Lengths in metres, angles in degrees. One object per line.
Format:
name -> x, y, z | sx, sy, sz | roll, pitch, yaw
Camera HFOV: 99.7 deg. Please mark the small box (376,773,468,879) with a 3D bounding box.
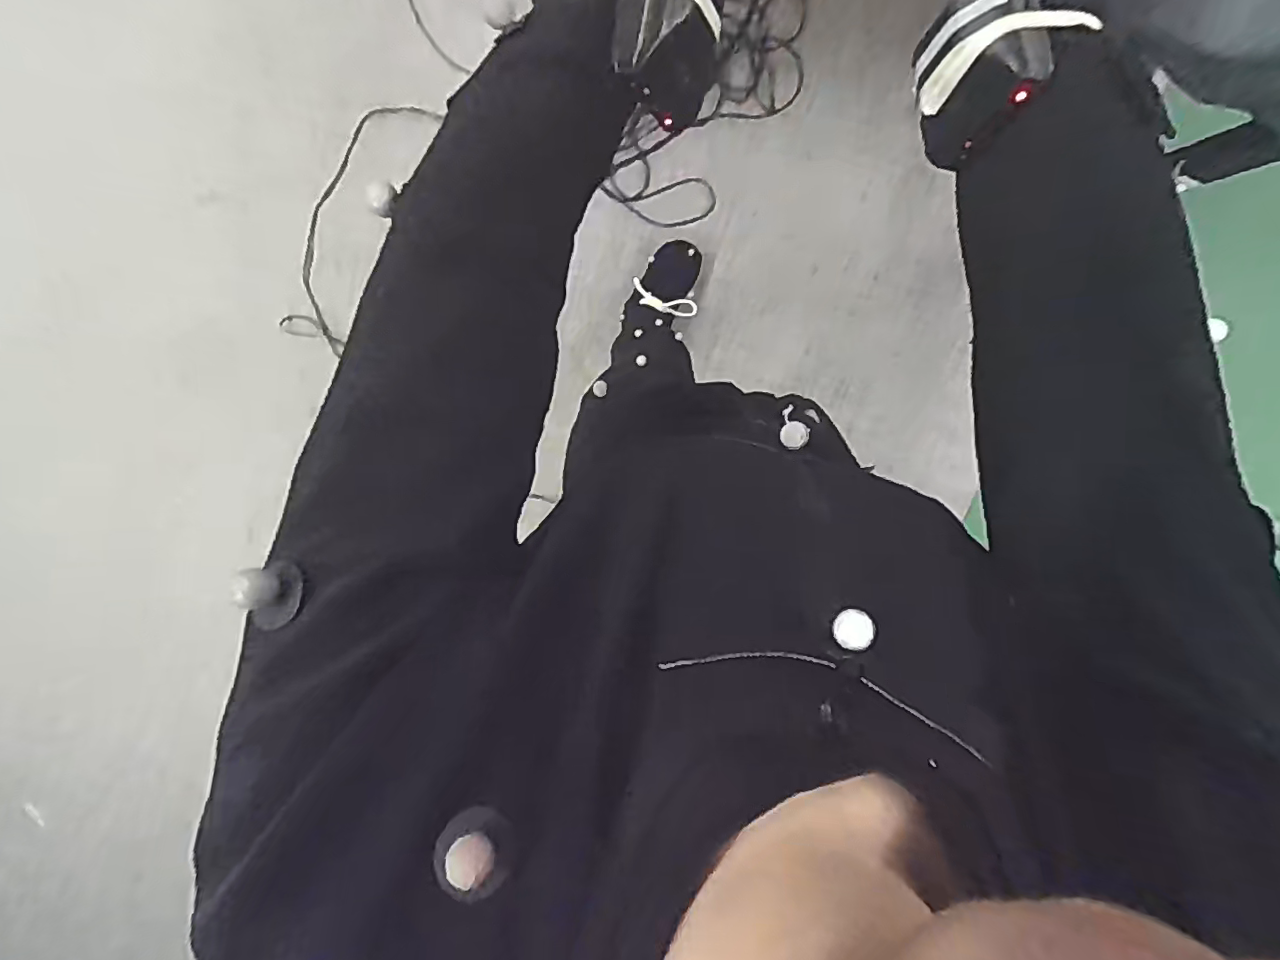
small box -> -0.600, 0.956, 1.507 | 0.179, 0.176, 0.168 | 16, 104, -2
